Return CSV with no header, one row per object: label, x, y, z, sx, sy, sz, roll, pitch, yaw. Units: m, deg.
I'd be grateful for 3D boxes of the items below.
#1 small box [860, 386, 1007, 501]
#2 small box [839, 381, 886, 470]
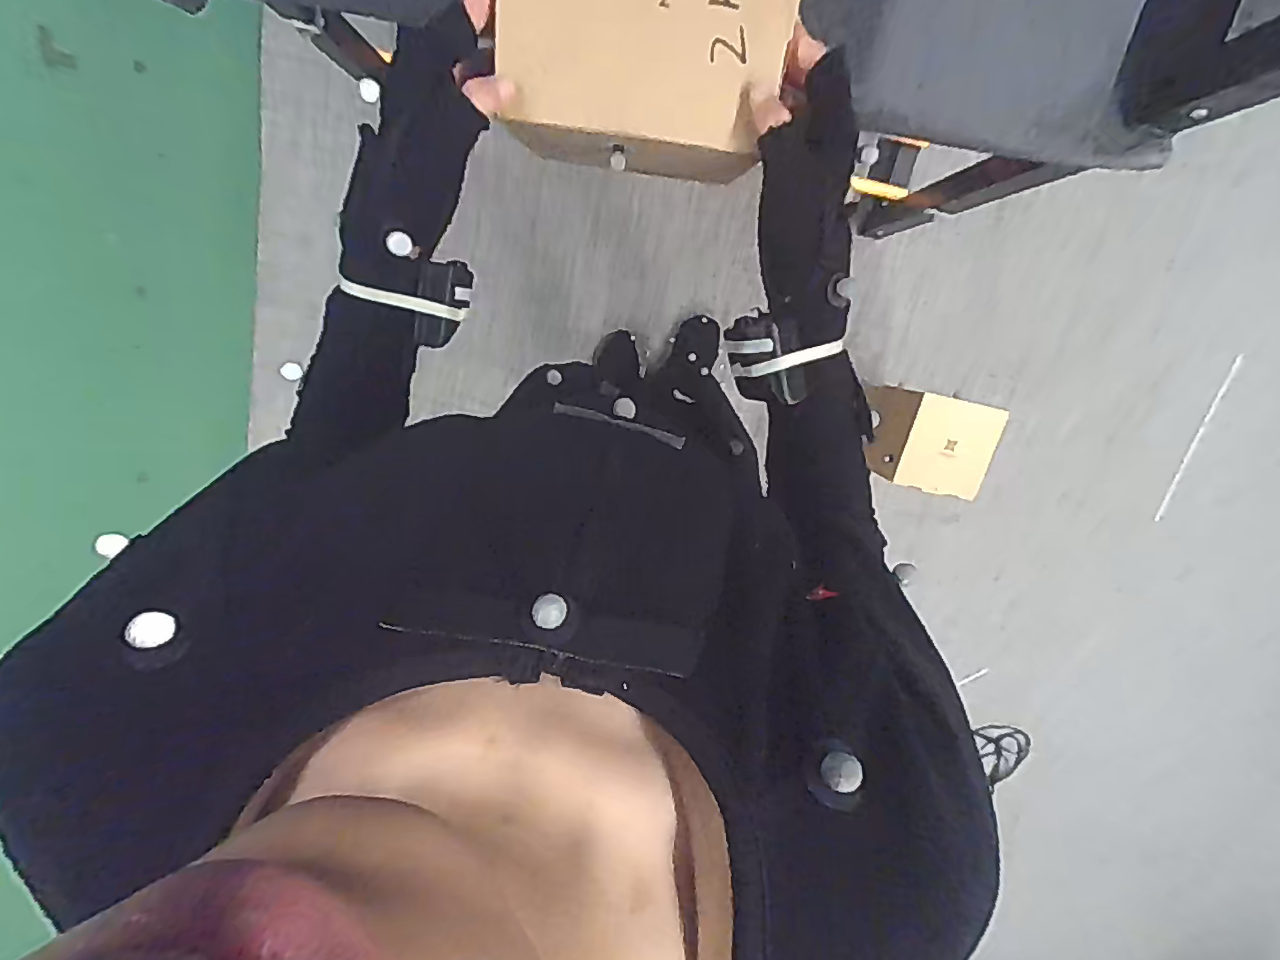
small box,0.557,-0.080,1.056,0.168,0.176,0.179,12,106,-3
small box,0.567,-0.116,1.215,0.168,0.176,0.179,9,105,-3
